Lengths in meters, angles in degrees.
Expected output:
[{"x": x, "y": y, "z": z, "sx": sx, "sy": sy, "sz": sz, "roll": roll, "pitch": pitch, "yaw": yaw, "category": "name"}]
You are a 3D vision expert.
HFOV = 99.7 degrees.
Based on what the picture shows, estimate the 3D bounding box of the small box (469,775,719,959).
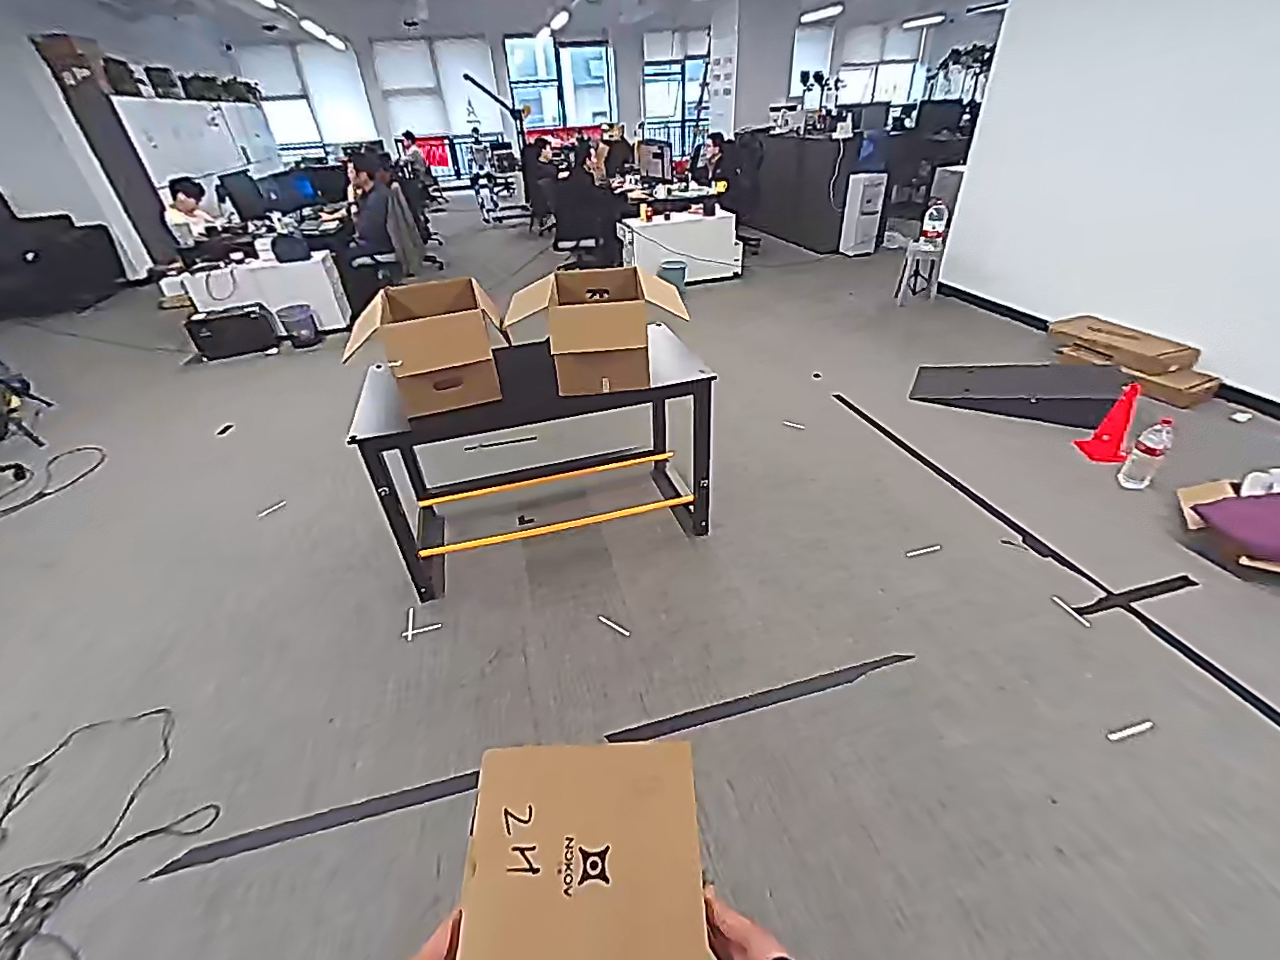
[{"x": -0.032, "y": 0.360, "z": 0.456, "sx": 0.179, "sy": 0.176, "sz": 0.168, "roll": -3, "pitch": 49, "yaw": 0, "category": "small box"}]
